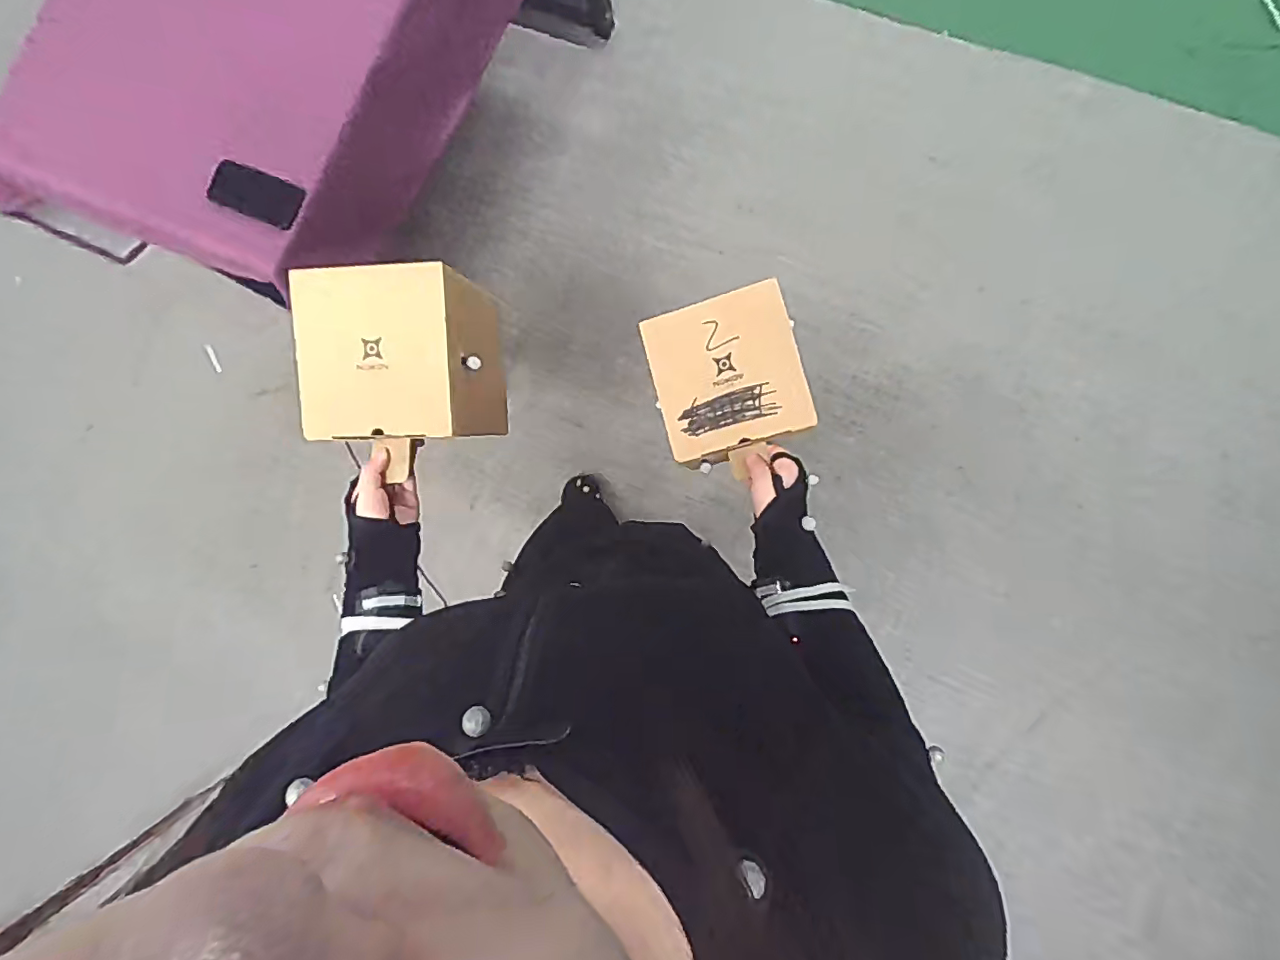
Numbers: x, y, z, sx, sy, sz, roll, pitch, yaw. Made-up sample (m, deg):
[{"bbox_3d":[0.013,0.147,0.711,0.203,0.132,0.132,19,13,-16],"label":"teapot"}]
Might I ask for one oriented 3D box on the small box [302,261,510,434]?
[{"bbox_3d":[-0.260,-0.144,0.639,0.168,0.176,0.179,0,97,6],"label":"small box"}]
